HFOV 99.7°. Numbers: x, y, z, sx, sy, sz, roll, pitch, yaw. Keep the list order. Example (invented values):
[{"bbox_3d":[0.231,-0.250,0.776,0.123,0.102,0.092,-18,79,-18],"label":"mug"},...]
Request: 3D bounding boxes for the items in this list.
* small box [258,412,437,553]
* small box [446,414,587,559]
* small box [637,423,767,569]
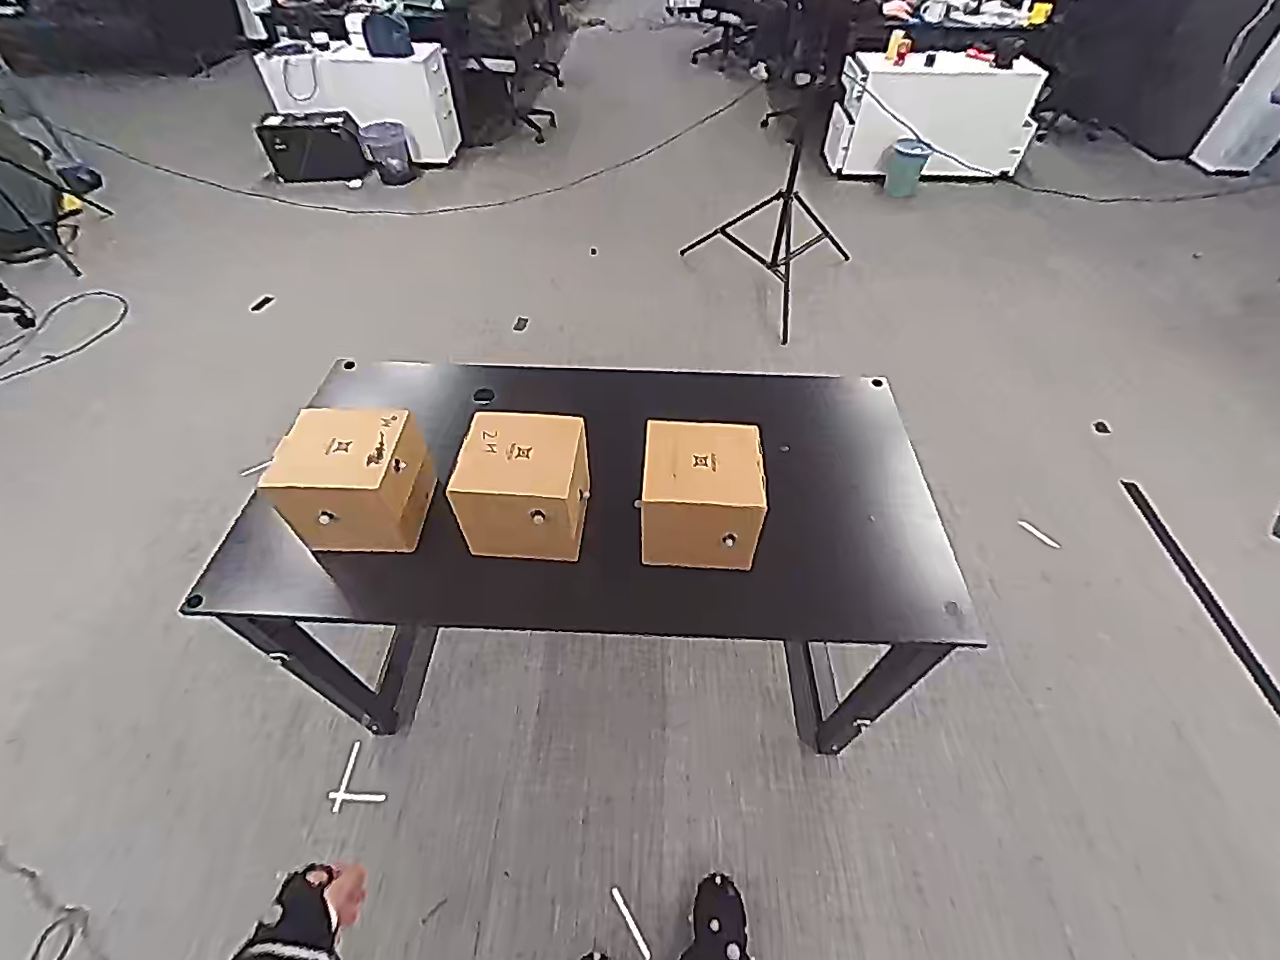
[{"bbox_3d":[-0.456,0.007,0.877,0.179,0.176,0.168,0,50,0],"label":"small box"},{"bbox_3d":[-0.183,0.015,0.870,0.179,0.176,0.168,3,50,3],"label":"small box"},{"bbox_3d":[0.088,0.029,0.858,0.179,0.176,0.168,2,47,-1],"label":"small box"}]
